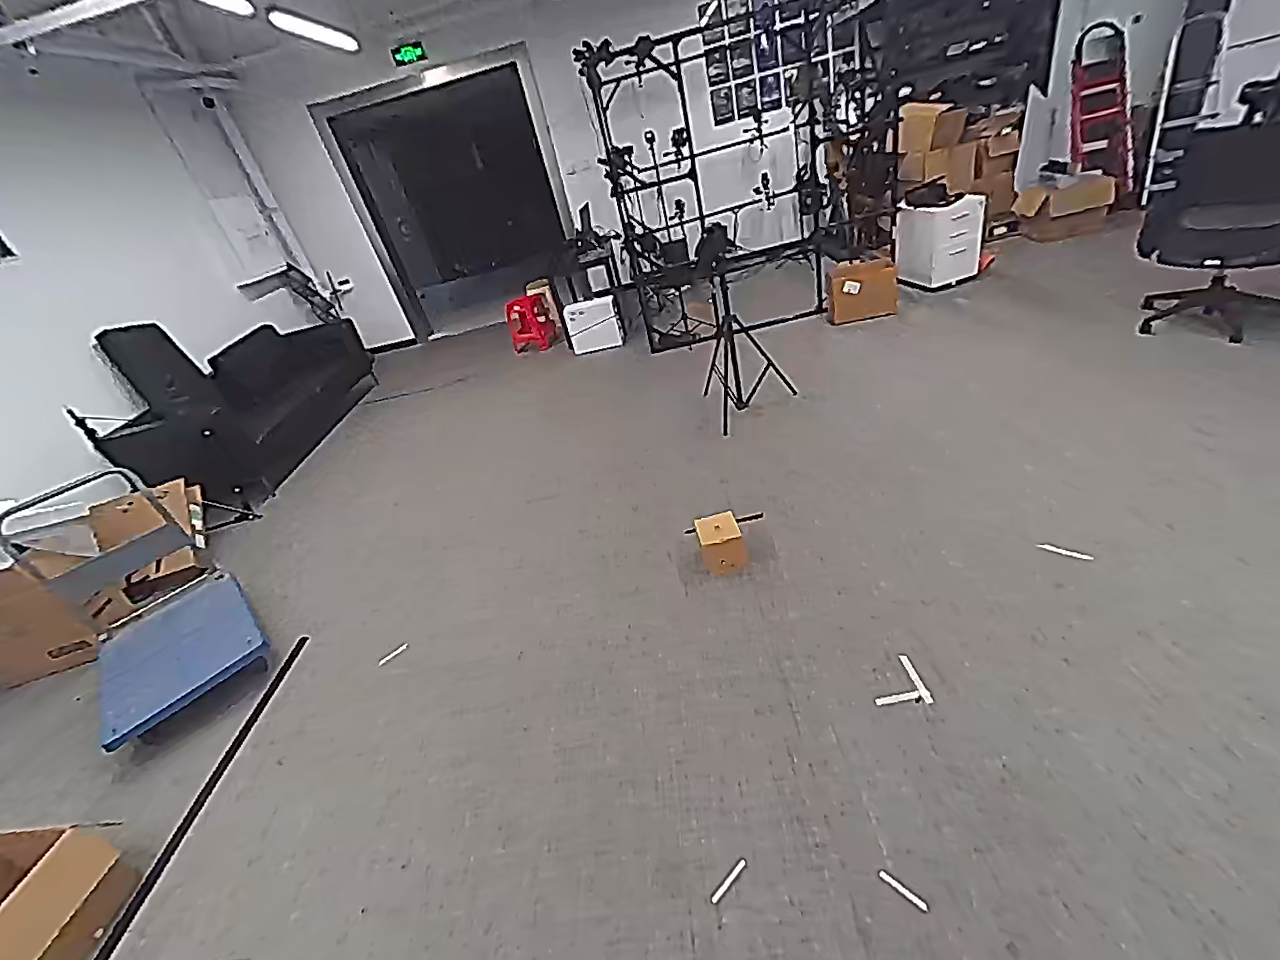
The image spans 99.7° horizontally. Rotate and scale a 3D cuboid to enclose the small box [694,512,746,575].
[{"bbox_3d":[0.331,0.265,2.246,0.168,0.176,0.179,-15,32,1],"label":"small box"}]
